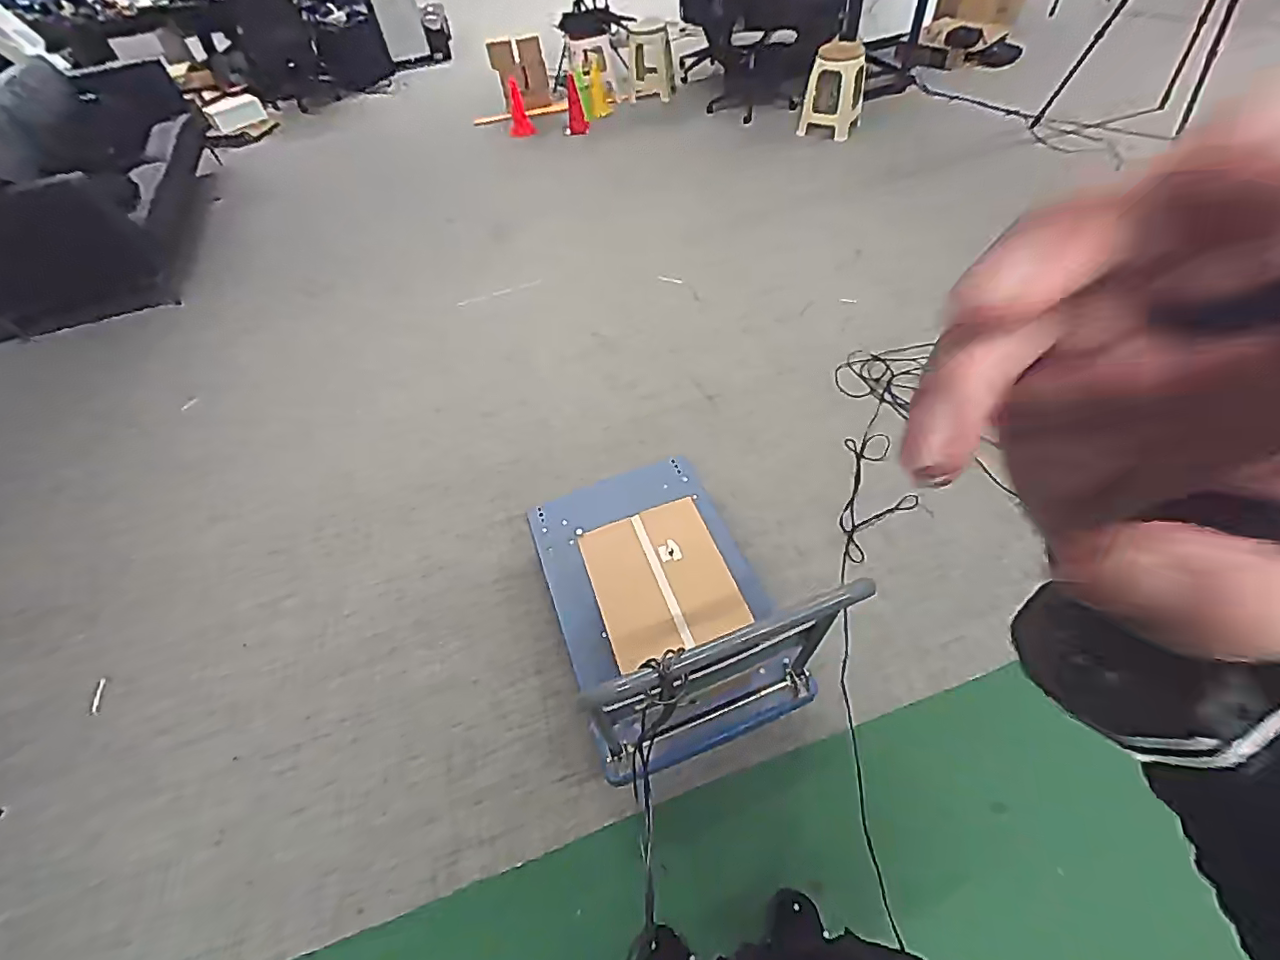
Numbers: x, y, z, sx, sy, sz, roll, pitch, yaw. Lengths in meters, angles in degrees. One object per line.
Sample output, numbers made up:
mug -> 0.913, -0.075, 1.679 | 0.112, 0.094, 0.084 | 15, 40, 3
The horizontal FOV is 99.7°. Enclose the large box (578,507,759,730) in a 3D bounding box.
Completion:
large box -> 0.068, 0.351, 1.382 | 0.320, 0.320, 0.408 | -18, 51, -8
